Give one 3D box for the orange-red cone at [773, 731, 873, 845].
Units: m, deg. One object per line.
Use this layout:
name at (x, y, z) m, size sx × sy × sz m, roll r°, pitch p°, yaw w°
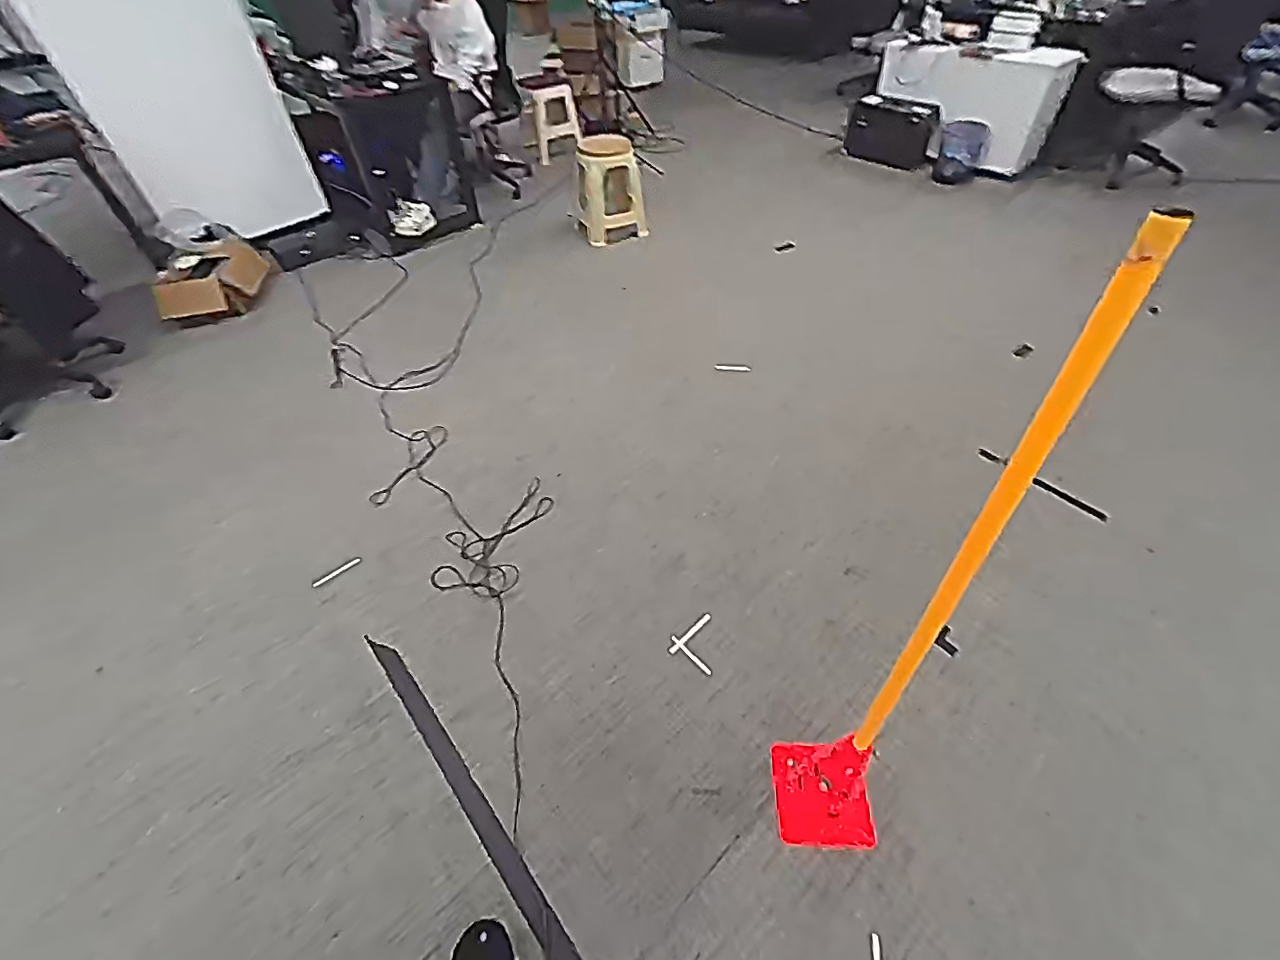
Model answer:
orange-red cone at (0.385, 0.565, 1.053) m, size 0.198 × 0.360 × 0.199 m, roll 0°, pitch 49°, yaw 5°
